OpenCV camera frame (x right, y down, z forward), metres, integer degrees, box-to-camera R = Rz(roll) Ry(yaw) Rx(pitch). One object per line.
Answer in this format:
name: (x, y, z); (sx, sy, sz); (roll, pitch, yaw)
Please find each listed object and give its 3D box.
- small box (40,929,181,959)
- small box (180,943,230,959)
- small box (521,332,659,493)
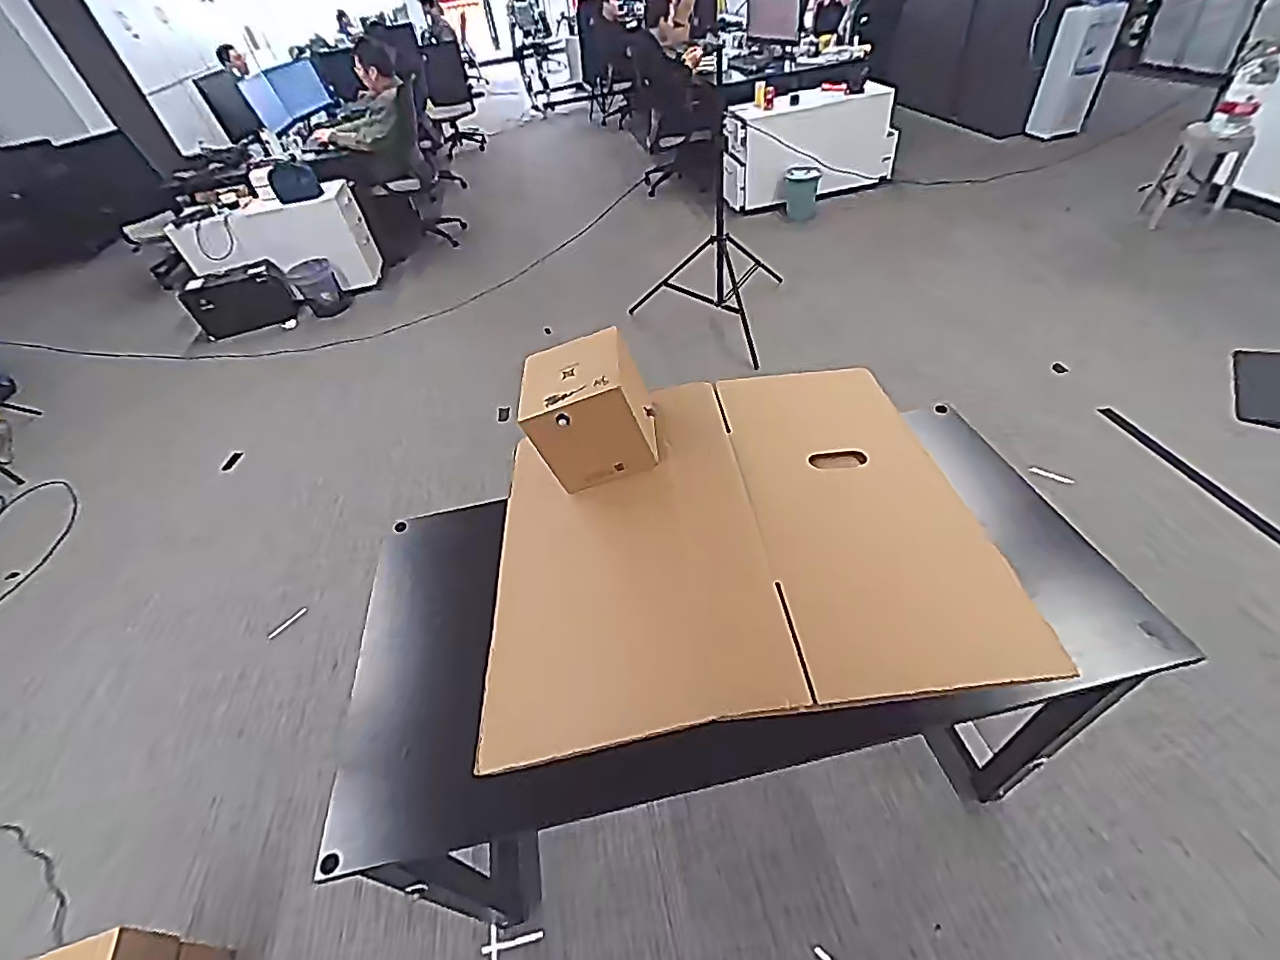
small box: (-1.005, 0.975, 0.997); (0.168, 0.176, 0.179); (-17, 44, -9)
small box: (-0.982, 1.093, 1.107); (0.168, 0.176, 0.179); (-15, 45, -6)
small box: (-0.076, -0.108, 0.895); (0.168, 0.176, 0.179); (-18, 42, 12)
